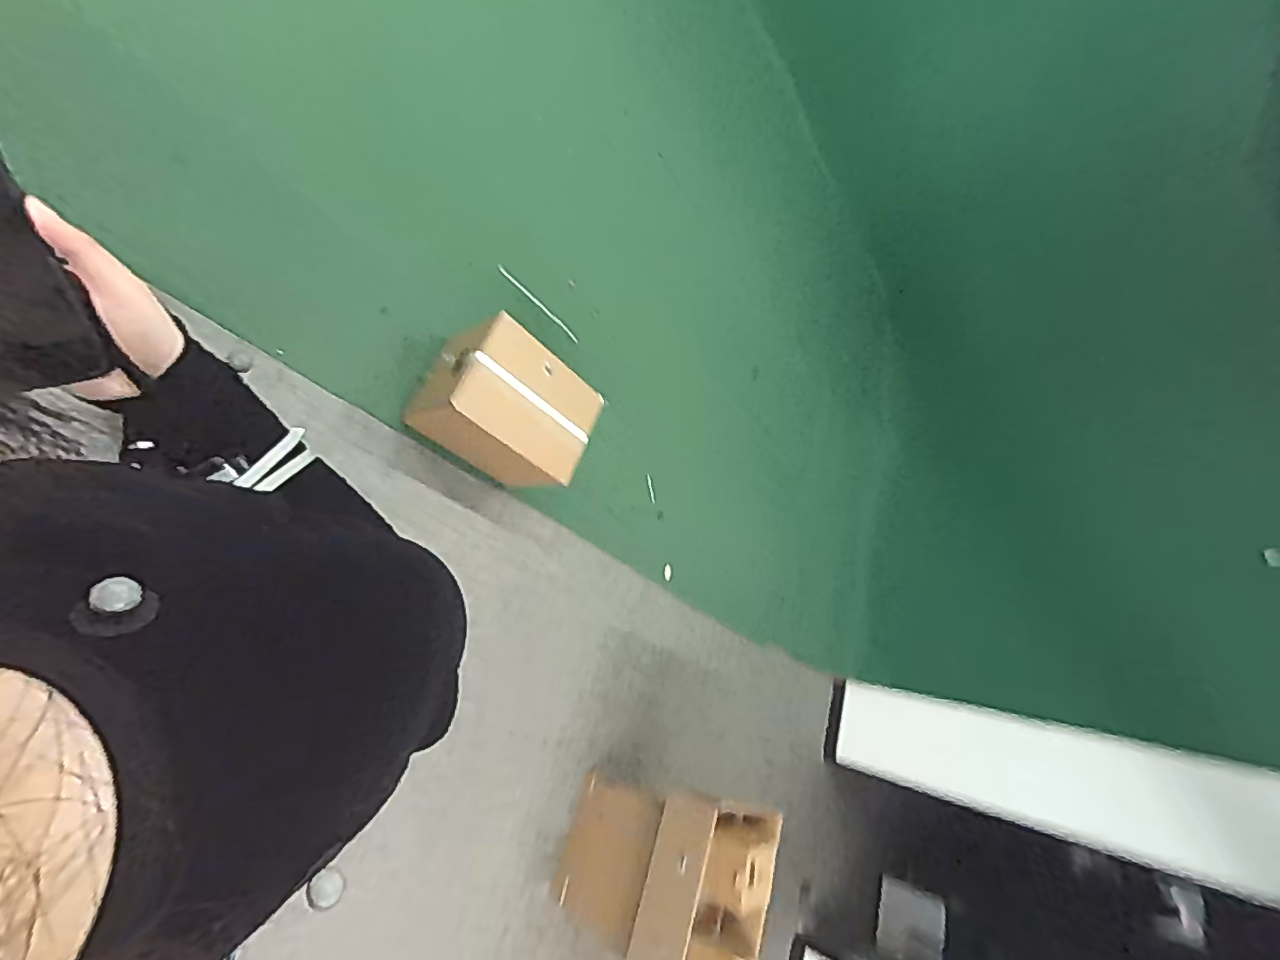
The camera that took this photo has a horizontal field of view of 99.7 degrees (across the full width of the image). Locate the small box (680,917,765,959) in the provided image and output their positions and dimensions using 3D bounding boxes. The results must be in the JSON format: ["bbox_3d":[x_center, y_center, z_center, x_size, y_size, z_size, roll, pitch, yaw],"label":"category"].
[{"bbox_3d":[0.235,1.430,1.594,0.179,0.176,0.168,43,60,-34],"label":"small box"}]
